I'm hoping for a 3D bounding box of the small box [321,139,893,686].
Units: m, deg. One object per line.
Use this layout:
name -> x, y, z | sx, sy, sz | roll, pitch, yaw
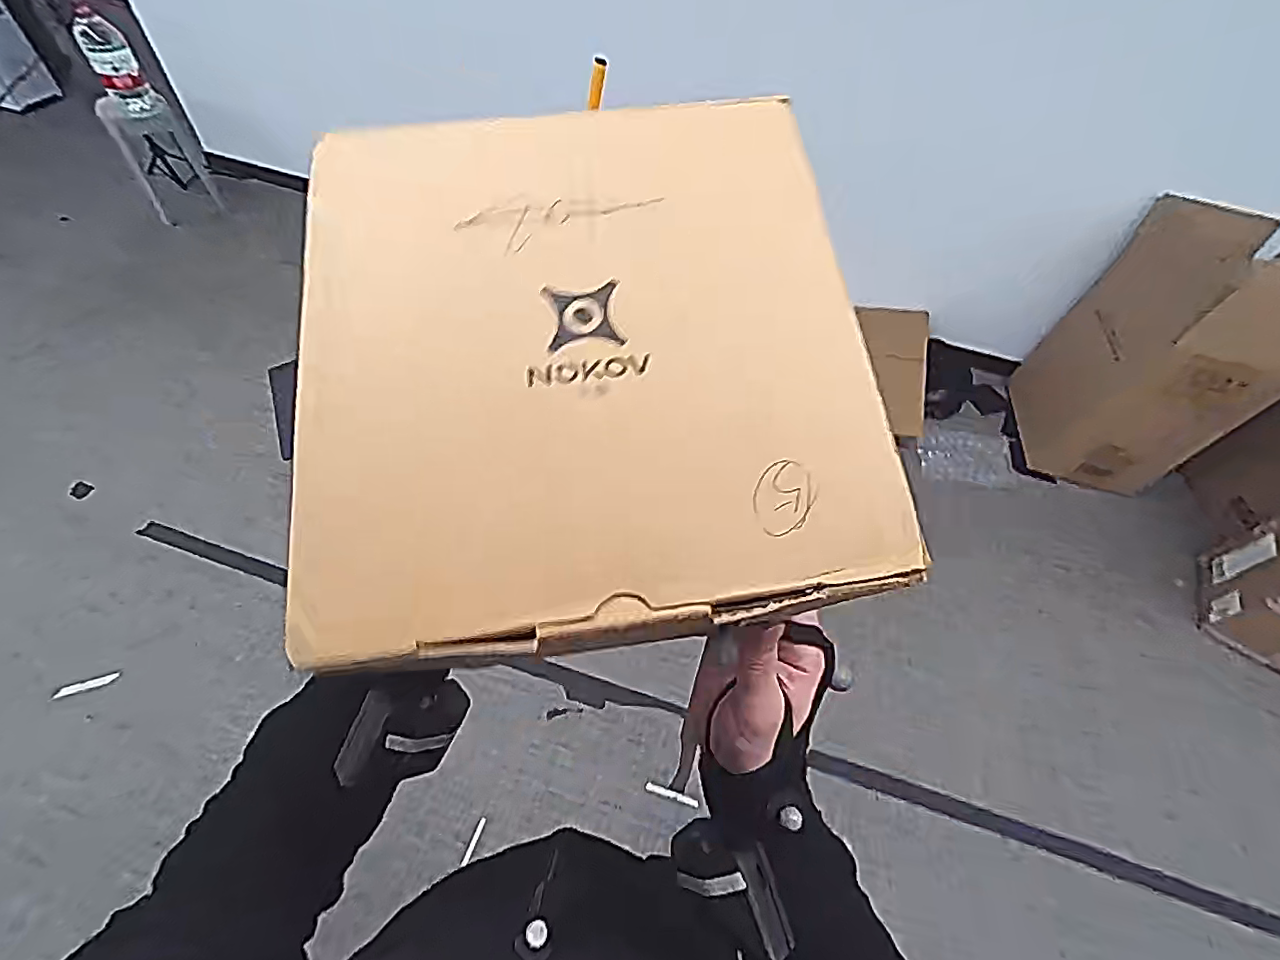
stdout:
small box -> -0.020, -0.012, 0.253 | 0.168, 0.176, 0.179 | -9, 71, -4
